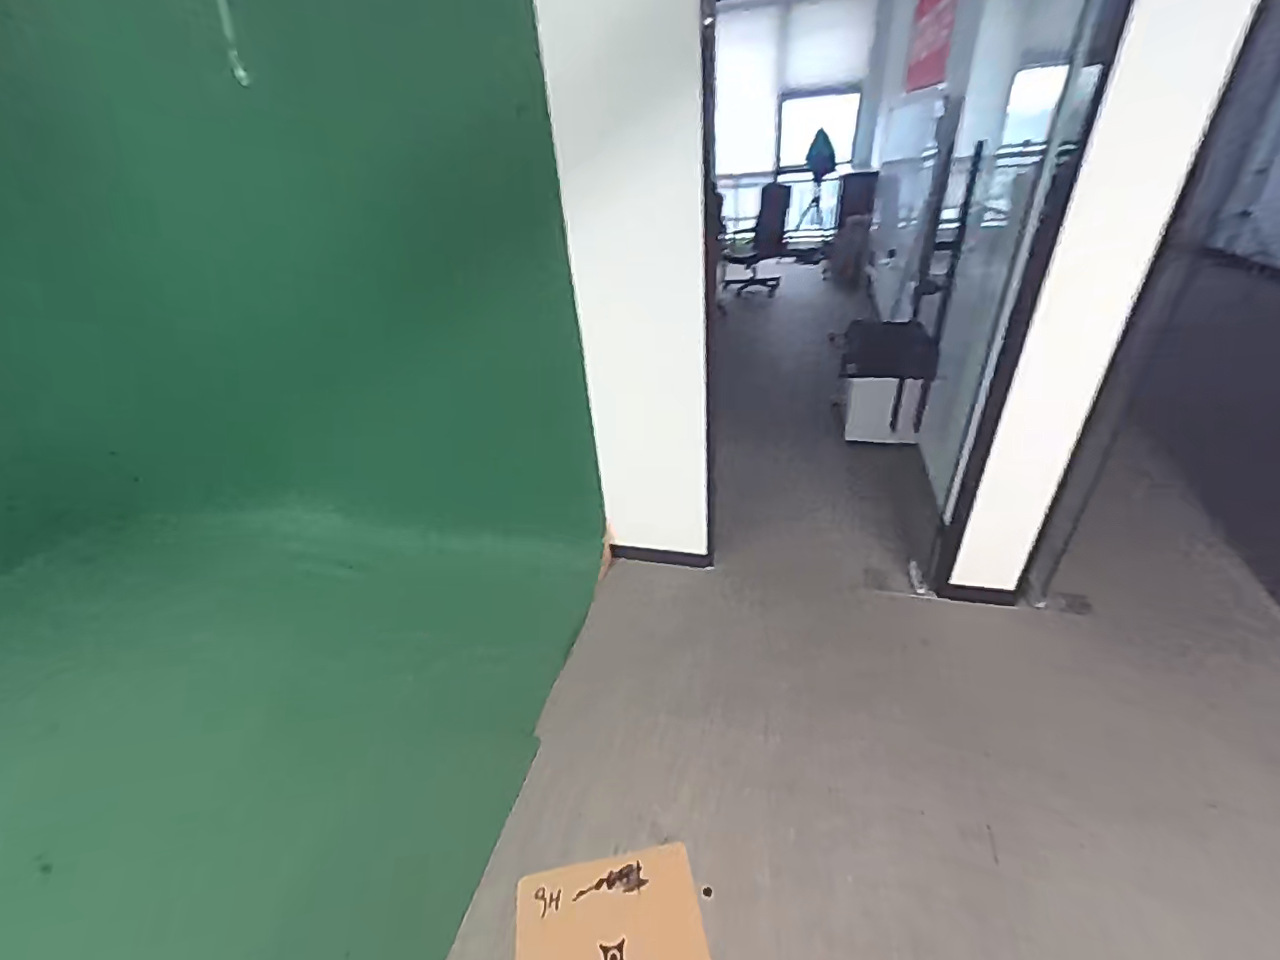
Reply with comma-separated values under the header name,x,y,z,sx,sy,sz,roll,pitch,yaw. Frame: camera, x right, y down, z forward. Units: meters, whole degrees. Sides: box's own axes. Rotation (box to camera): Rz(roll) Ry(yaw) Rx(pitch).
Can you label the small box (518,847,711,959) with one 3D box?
name,x,y,z,sx,sy,sz,roll,pitch,yaw
small box,-0.015,0.480,0.490,0.168,0.176,0.179,-7,33,-6
